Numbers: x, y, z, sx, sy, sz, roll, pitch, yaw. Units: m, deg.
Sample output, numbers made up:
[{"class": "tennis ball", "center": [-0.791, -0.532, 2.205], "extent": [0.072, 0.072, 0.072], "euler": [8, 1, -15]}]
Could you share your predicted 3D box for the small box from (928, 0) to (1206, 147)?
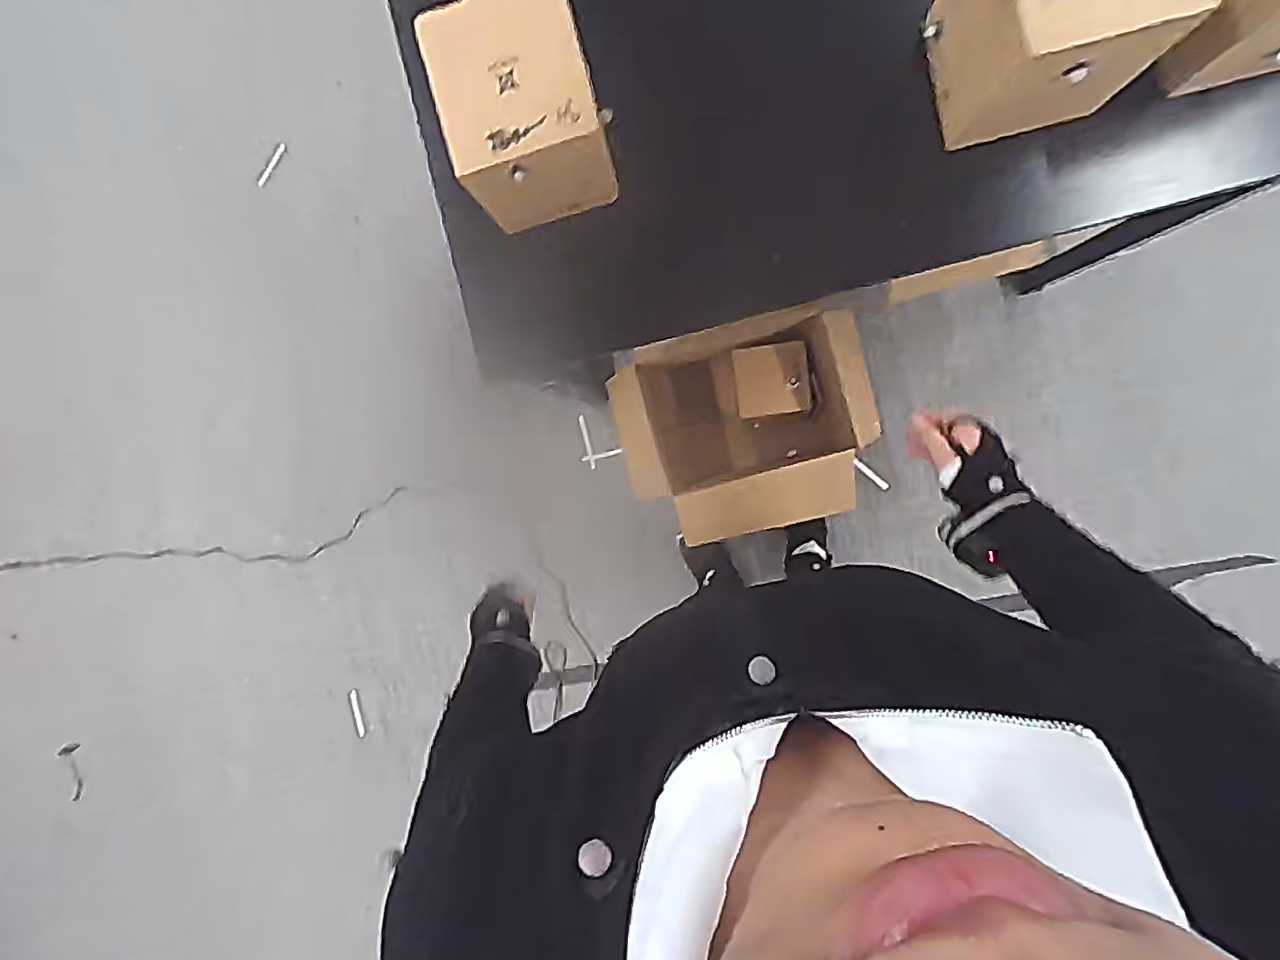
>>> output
[{"class": "small box", "center": [0.444, -0.507, 0.597], "extent": [0.179, 0.176, 0.168], "euler": [-12, 92, 6]}]

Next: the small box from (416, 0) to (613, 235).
[{"class": "small box", "center": [-0.139, -0.435, 0.659], "extent": [0.168, 0.176, 0.179], "euler": [-14, 92, 6]}]

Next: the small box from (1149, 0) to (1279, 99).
[{"class": "small box", "center": [0.683, -0.557, 0.569], "extent": [0.168, 0.176, 0.179], "euler": [-11, 92, 7]}]
